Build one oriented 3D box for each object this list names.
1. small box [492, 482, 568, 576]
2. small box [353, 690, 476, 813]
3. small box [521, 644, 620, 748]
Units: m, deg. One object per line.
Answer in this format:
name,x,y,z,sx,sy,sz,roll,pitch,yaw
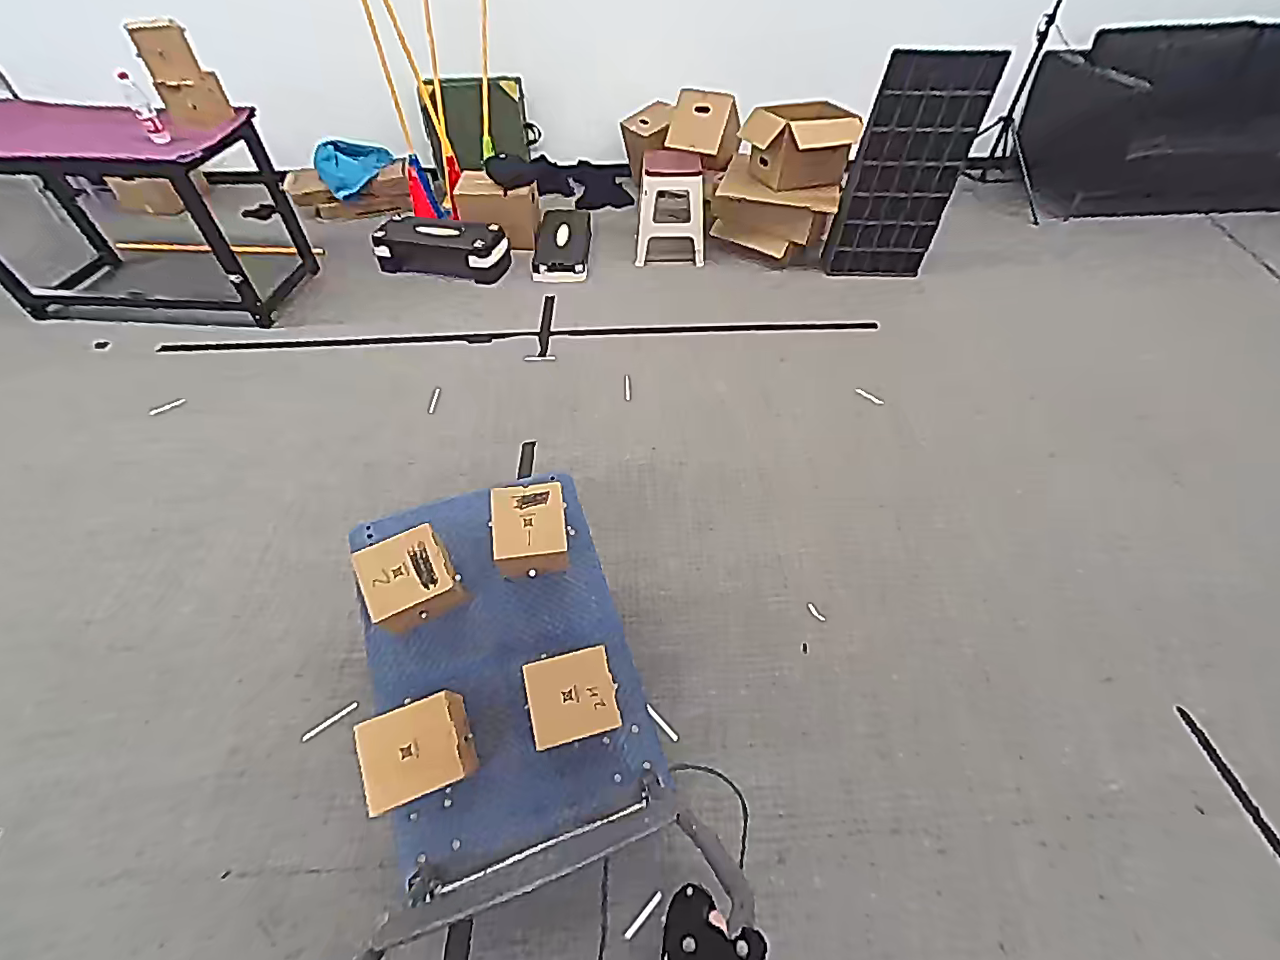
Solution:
small box,-0.266,0.121,1.313,0.168,0.176,0.179,-5,67,-9
small box,-0.450,0.545,1.096,0.179,0.176,0.168,-18,69,-16
small box,-0.149,0.468,1.167,0.179,0.176,0.168,-11,68,-12
